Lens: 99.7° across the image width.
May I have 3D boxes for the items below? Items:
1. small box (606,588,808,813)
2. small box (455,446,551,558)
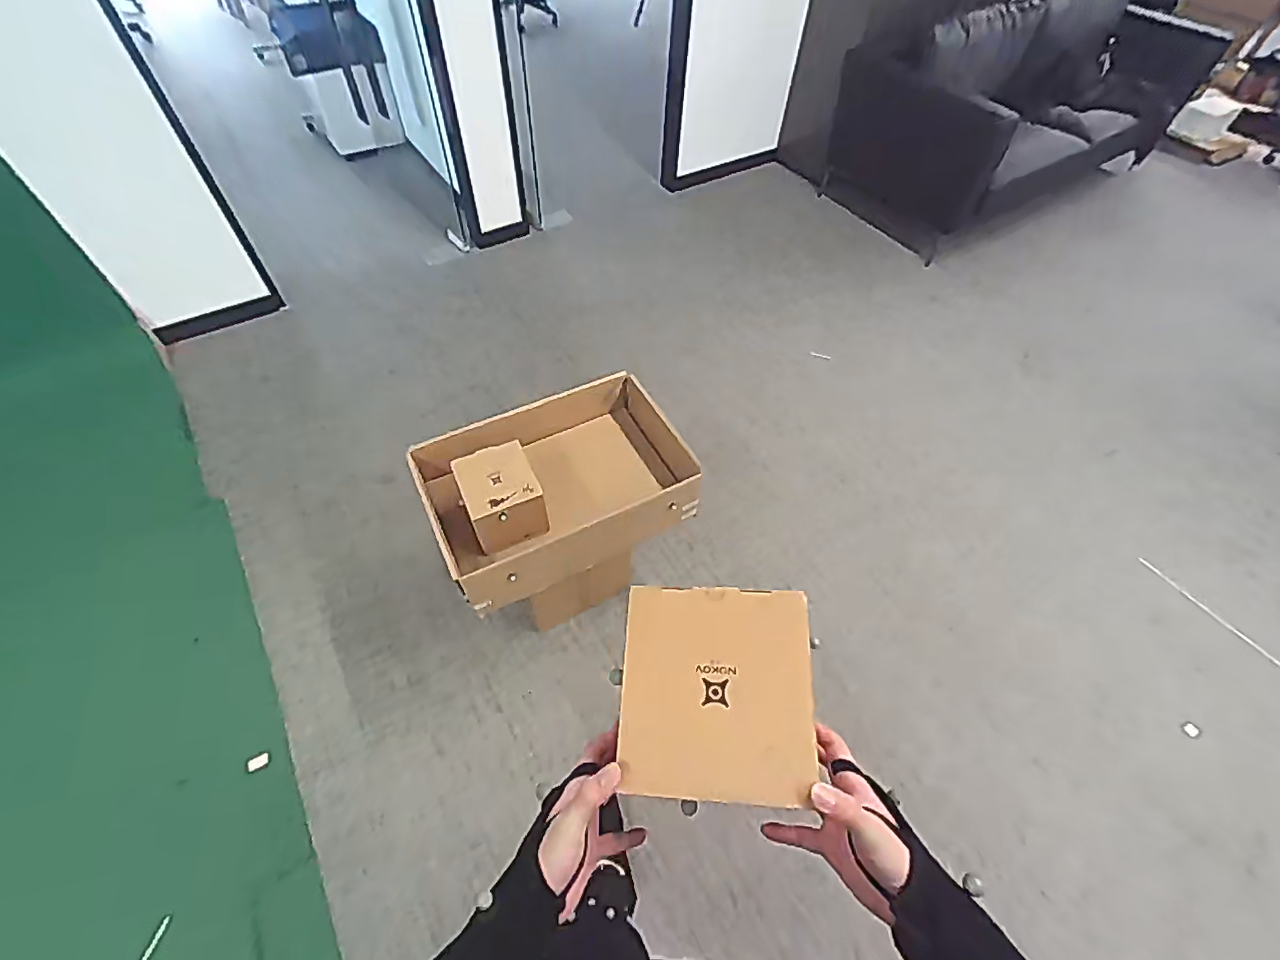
[{"bbox_3d":[0.068,0.217,0.539,0.168,0.176,0.179,0,62,8],"label":"small box"},{"bbox_3d":[-0.322,0.054,1.283,0.168,0.176,0.179,-21,58,-16],"label":"small box"}]
